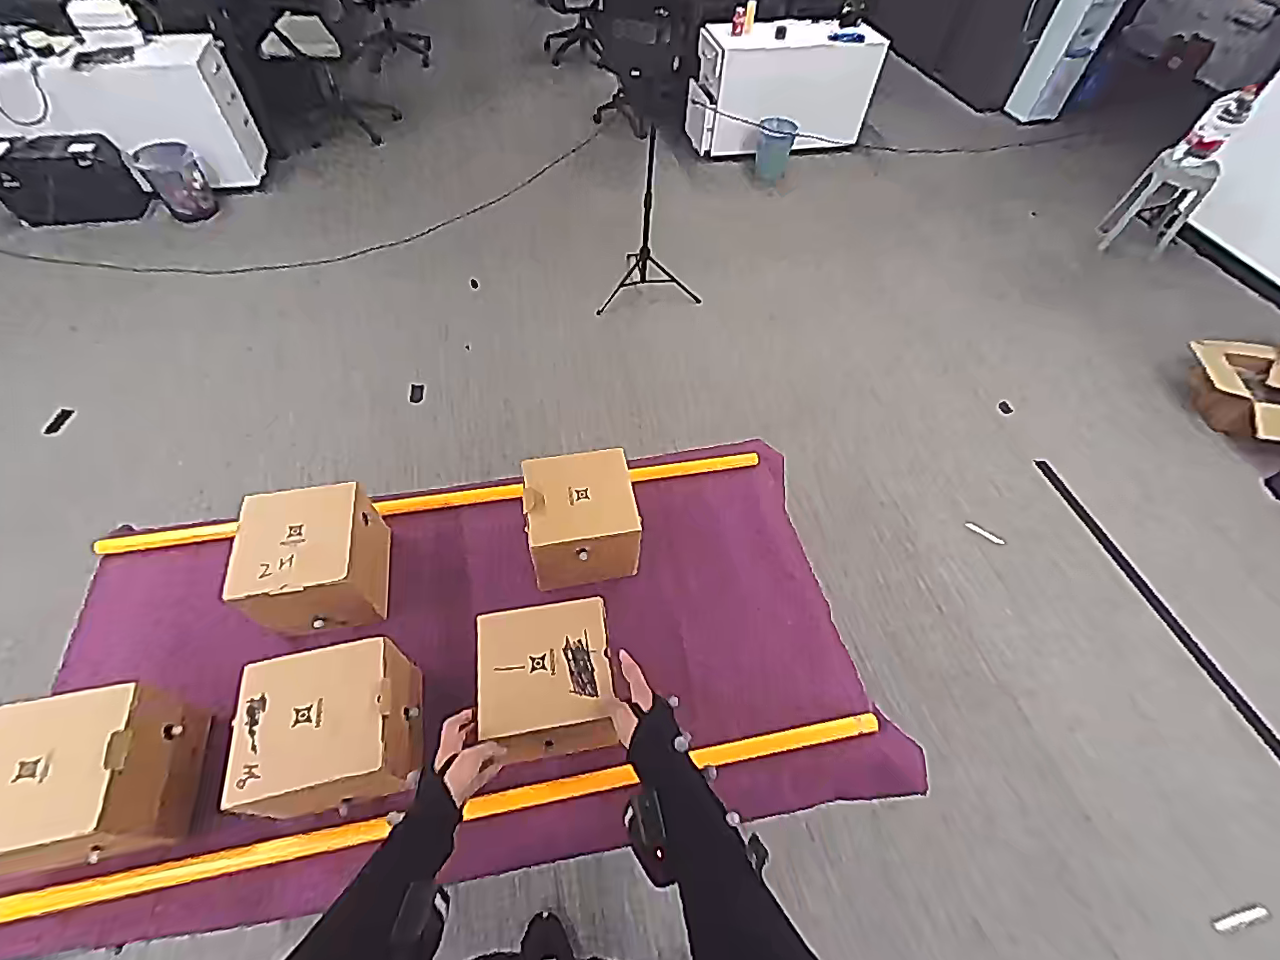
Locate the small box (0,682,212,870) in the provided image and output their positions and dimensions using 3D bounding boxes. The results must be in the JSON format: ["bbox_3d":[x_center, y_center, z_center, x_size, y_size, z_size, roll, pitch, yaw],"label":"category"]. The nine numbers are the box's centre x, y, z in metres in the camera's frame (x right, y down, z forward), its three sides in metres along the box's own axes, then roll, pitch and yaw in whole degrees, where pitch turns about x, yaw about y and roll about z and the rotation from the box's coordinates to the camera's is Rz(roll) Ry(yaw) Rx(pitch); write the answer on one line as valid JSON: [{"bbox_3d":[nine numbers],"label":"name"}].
[{"bbox_3d":[-0.695,0.376,0.686,0.179,0.176,0.168,-8,55,-11],"label":"small box"}]

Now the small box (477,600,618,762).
[{"bbox_3d":[-0.128,0.291,0.778,0.179,0.176,0.168,-7,53,-7],"label":"small box"}]

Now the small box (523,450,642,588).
[{"bbox_3d":[-0.100,0.071,0.939,0.179,0.176,0.168,-9,56,-8],"label":"small box"}]

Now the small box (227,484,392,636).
[{"bbox_3d":[-0.514,0.131,0.873,0.168,0.176,0.179,-8,57,-8],"label":"small box"}]

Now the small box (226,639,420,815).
[{"bbox_3d":[-0.406,0.336,0.732,0.179,0.176,0.168,-9,55,-10],"label":"small box"}]
